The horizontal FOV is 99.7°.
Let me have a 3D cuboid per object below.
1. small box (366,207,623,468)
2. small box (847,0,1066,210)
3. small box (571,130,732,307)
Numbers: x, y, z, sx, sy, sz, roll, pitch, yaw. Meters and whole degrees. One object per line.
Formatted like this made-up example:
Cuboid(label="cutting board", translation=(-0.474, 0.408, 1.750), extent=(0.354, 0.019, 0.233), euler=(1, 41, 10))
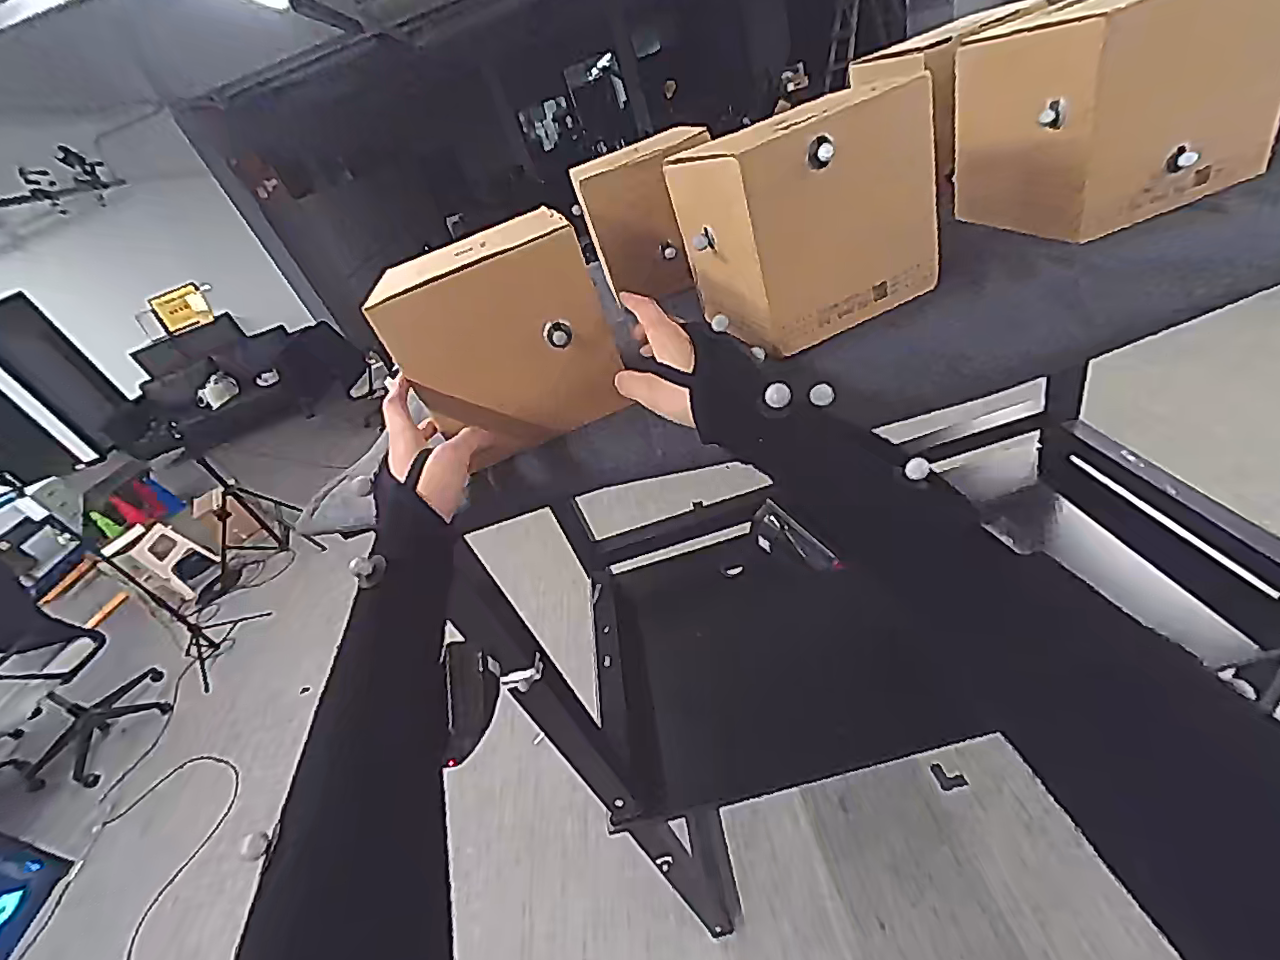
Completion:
Cuboid(label="small box", translation=(-0.127, -0.141, 0.525), extent=(0.179, 0.176, 0.168), euler=(-23, 34, -3))
Cuboid(label="small box", translation=(0.387, -0.462, 0.685), extent=(0.168, 0.176, 0.179), euler=(-20, 34, 3))
Cuboid(label="small box", translation=(0.014, -0.361, 0.749), extent=(0.168, 0.176, 0.179), euler=(-20, 35, 2))
